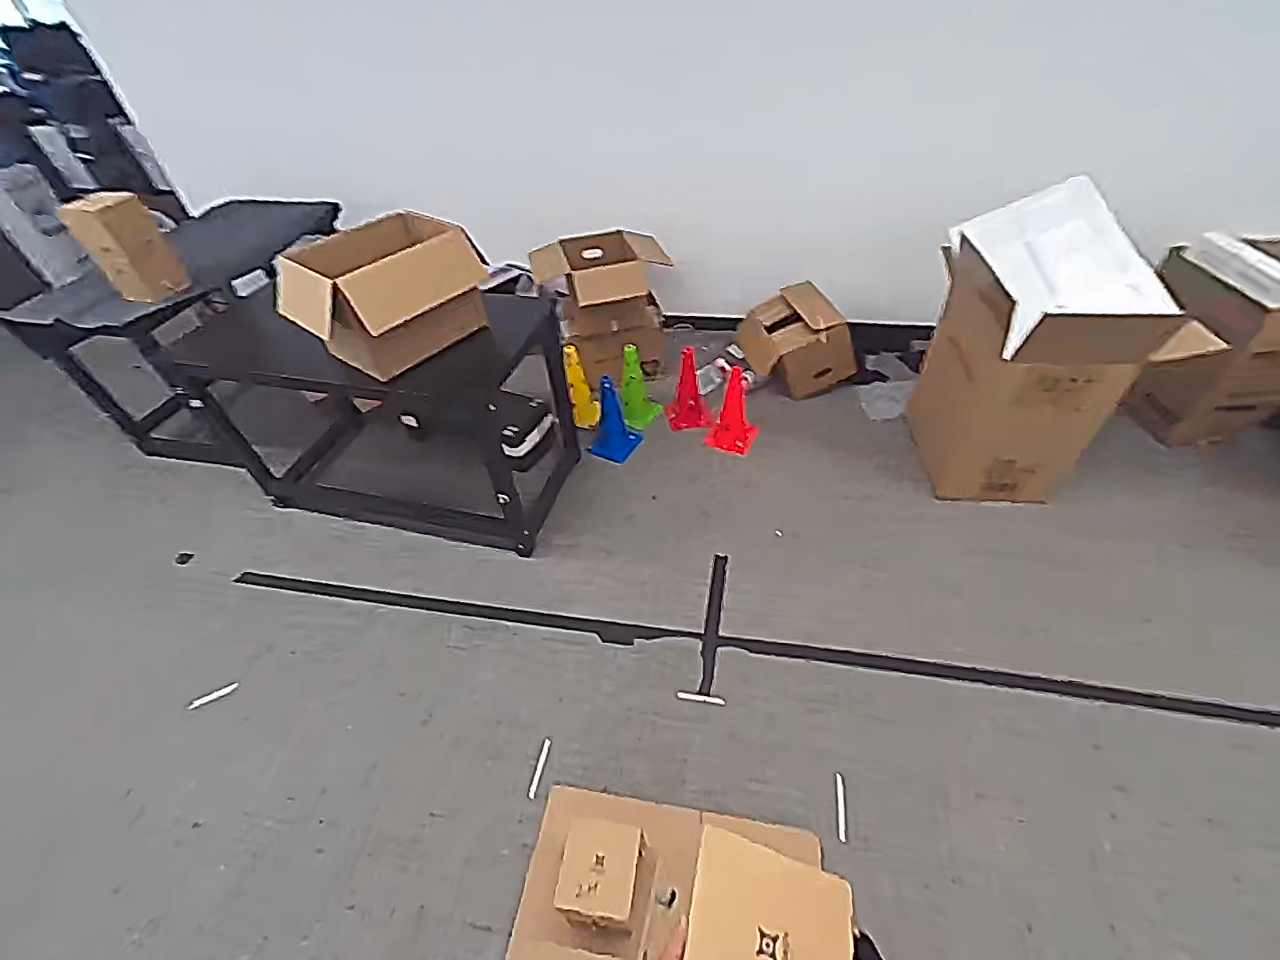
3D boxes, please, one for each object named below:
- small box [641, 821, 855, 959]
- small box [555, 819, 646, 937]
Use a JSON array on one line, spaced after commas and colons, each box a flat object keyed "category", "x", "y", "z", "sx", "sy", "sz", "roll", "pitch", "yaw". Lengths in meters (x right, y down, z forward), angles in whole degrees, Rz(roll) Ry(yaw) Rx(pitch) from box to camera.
[{"category": "small box", "x": 0.105, "y": 0.503, "z": 0.573, "sx": 0.179, "sy": 0.176, "sz": 0.168, "roll": 23, "pitch": 41, "yaw": 0}, {"category": "small box", "x": -0.080, "y": 0.906, "z": 1.232, "sx": 0.168, "sy": 0.176, "sz": 0.179, "roll": 4, "pitch": 45, "yaw": 10}]
